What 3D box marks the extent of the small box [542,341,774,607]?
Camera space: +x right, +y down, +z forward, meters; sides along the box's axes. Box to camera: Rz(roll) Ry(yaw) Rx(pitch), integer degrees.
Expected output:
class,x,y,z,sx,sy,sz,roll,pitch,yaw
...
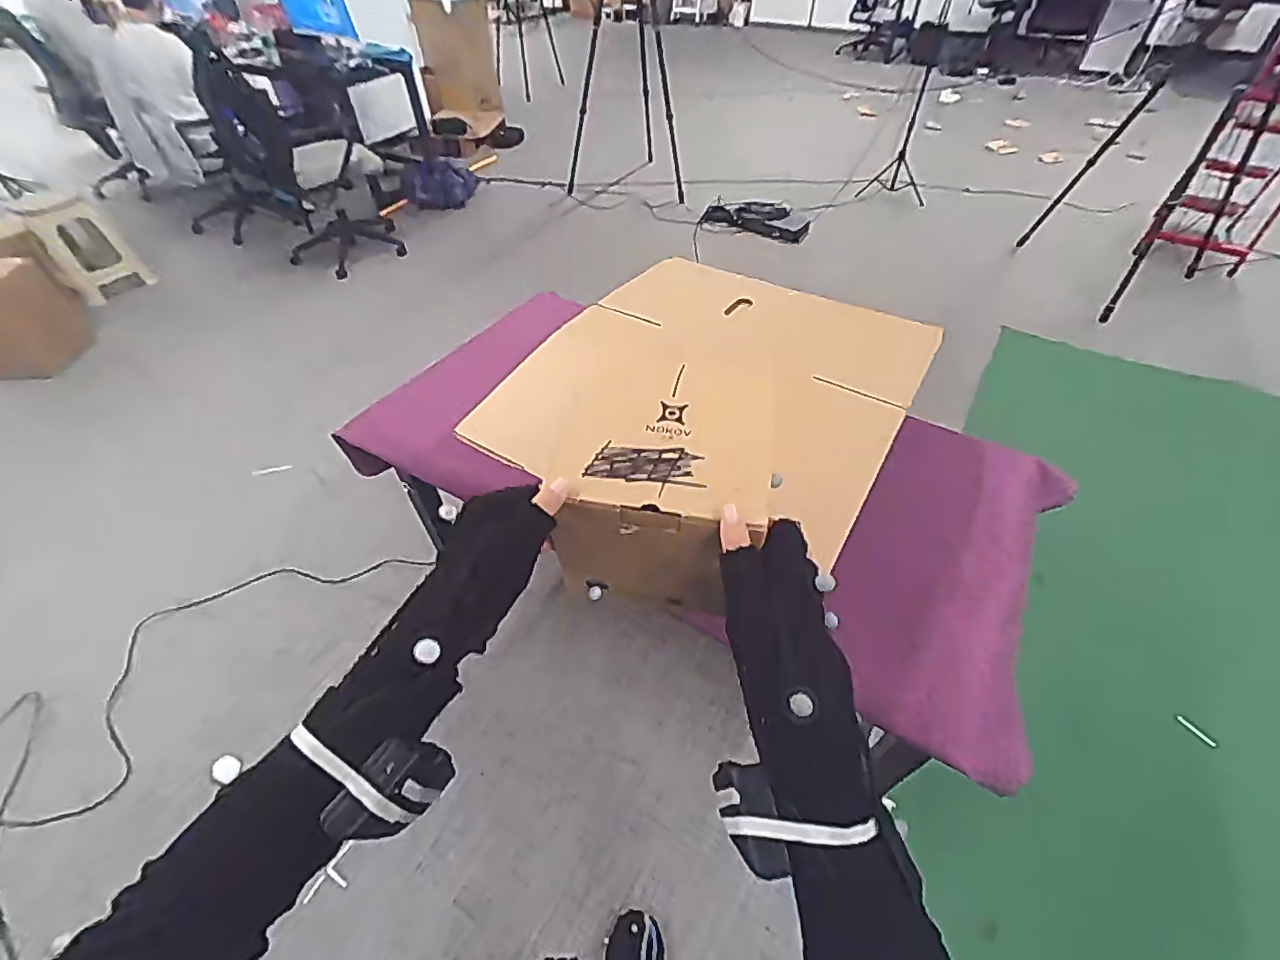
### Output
class,x,y,z,sx,sy,sz,roll,pitch,yaw
small box,0.025,-0.001,0.501,0.168,0.176,0.179,8,54,7
